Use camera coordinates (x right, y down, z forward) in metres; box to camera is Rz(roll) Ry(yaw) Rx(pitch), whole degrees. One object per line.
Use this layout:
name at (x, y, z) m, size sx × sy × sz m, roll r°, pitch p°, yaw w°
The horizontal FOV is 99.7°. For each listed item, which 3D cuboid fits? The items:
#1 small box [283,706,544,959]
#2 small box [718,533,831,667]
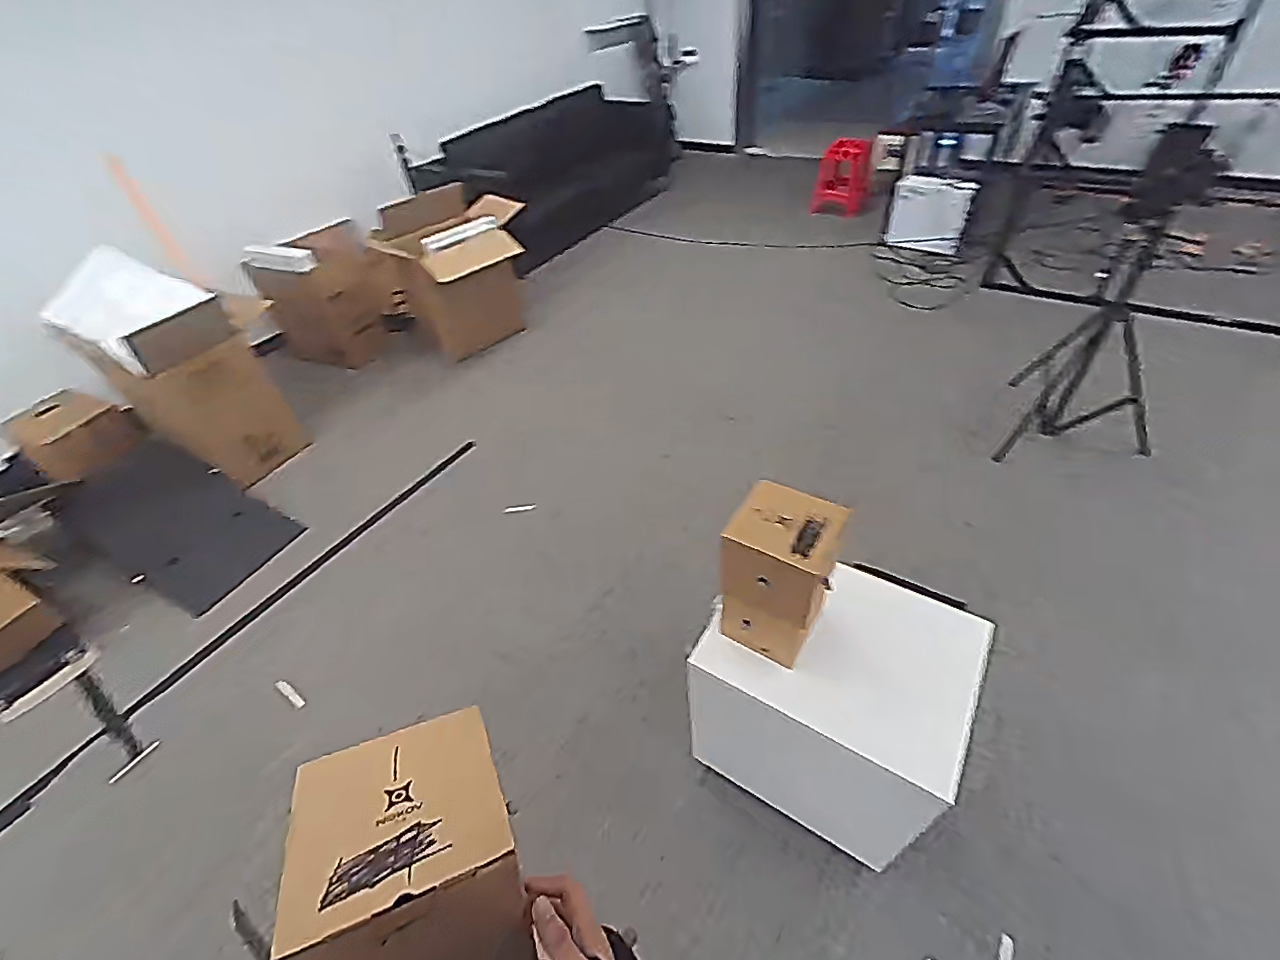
small box at (-0.191, 0.348, 0.483) m, size 0.168 × 0.176 × 0.179 m, roll -11°, pitch 23°, yaw -22°
small box at (0.274, 0.249, 1.115) m, size 0.168 × 0.176 × 0.179 m, roll 22°, pitch 51°, yaw 26°
